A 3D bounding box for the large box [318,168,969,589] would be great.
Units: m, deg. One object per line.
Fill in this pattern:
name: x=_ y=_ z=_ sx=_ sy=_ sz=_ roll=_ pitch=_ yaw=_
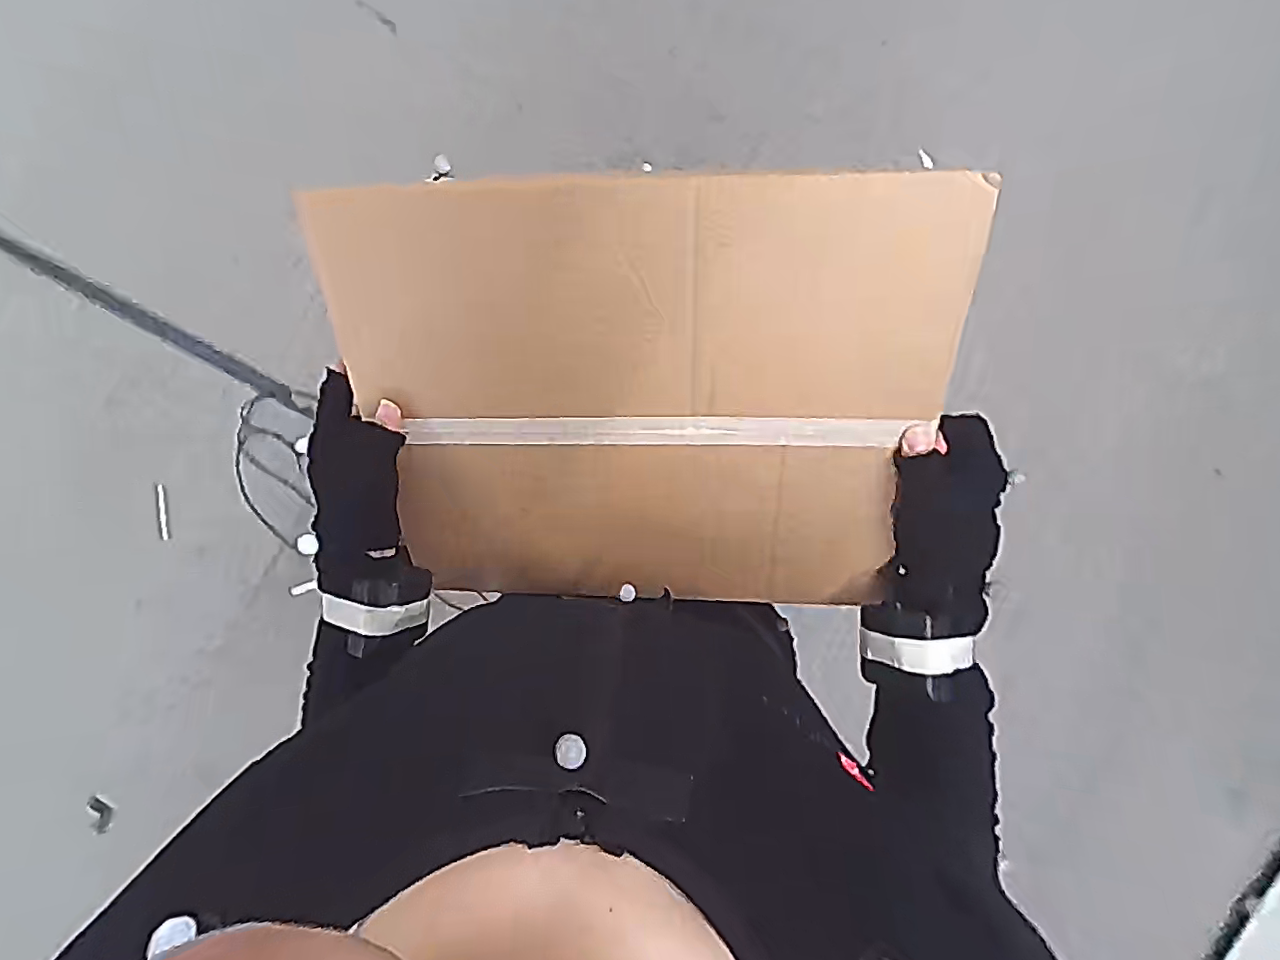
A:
large box: x=0.007 y=-0.114 z=0.525 sx=0.408 sy=0.320 sz=0.320 roll=0 pitch=121 yaw=5
